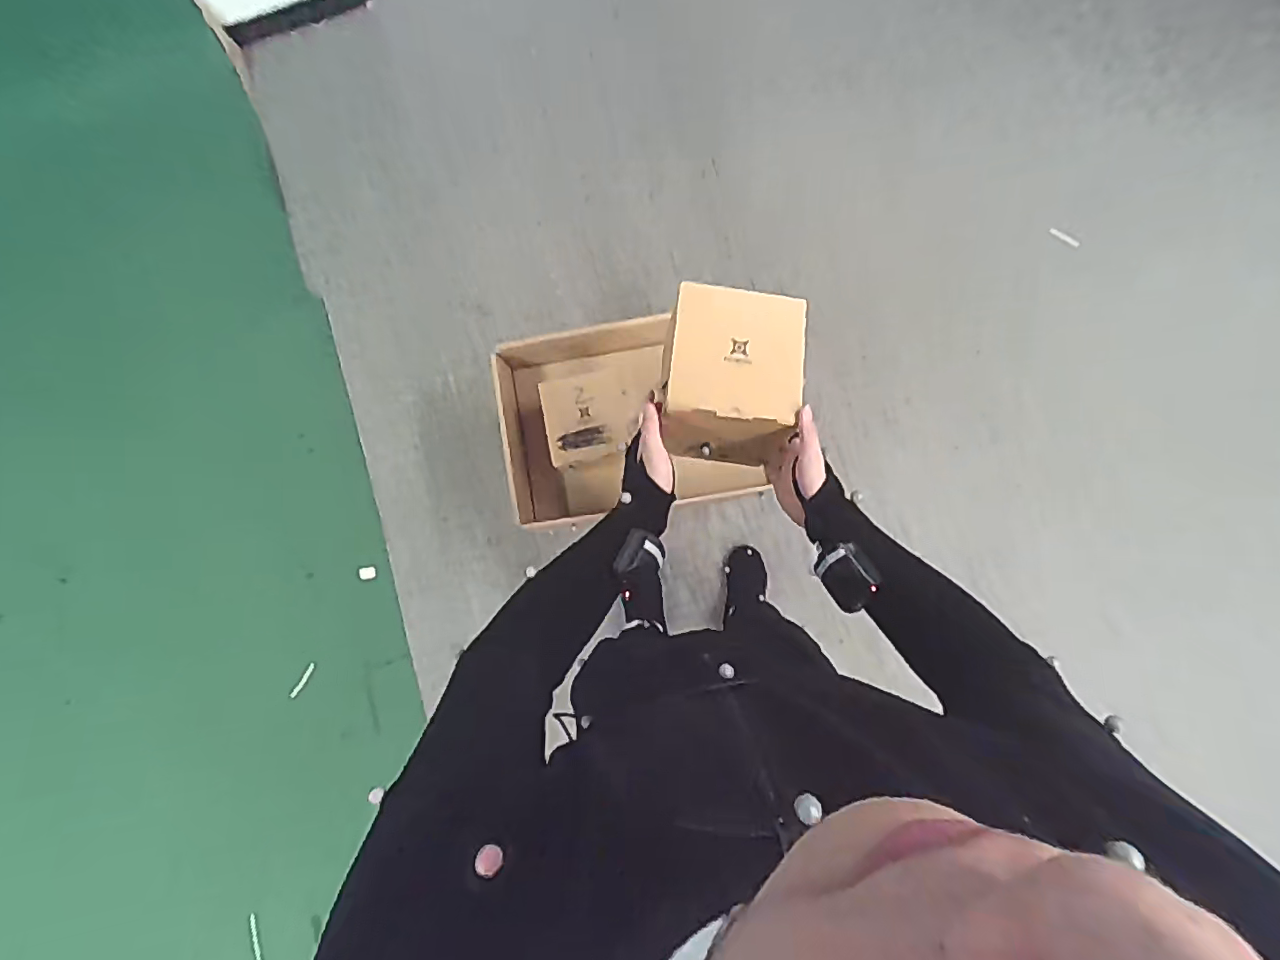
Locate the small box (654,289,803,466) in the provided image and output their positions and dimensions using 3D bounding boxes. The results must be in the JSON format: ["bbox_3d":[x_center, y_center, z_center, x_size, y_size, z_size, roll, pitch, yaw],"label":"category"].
[{"bbox_3d":[0.112,-0.130,0.741,0.168,0.176,0.179,6,77,-3],"label":"small box"}]
